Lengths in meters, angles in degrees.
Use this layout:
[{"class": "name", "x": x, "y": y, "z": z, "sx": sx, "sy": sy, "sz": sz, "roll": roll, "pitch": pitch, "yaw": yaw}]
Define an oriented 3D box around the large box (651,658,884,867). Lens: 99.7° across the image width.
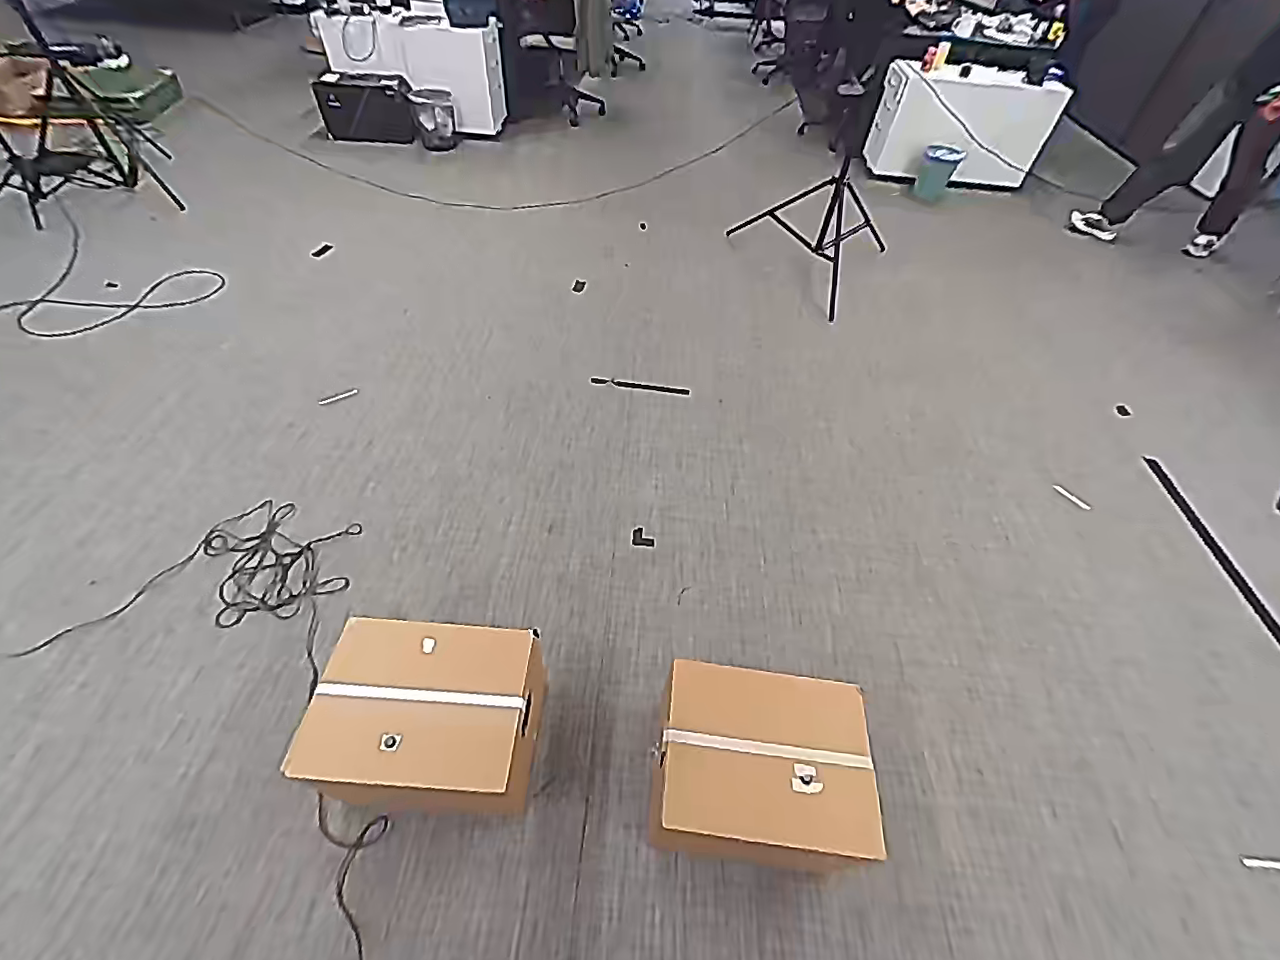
[{"class": "large box", "x": 0.245, "y": 0.620, "z": 1.179, "sx": 0.408, "sy": 0.320, "sz": 0.320, "roll": 8, "pitch": 50, "yaw": 1}]
